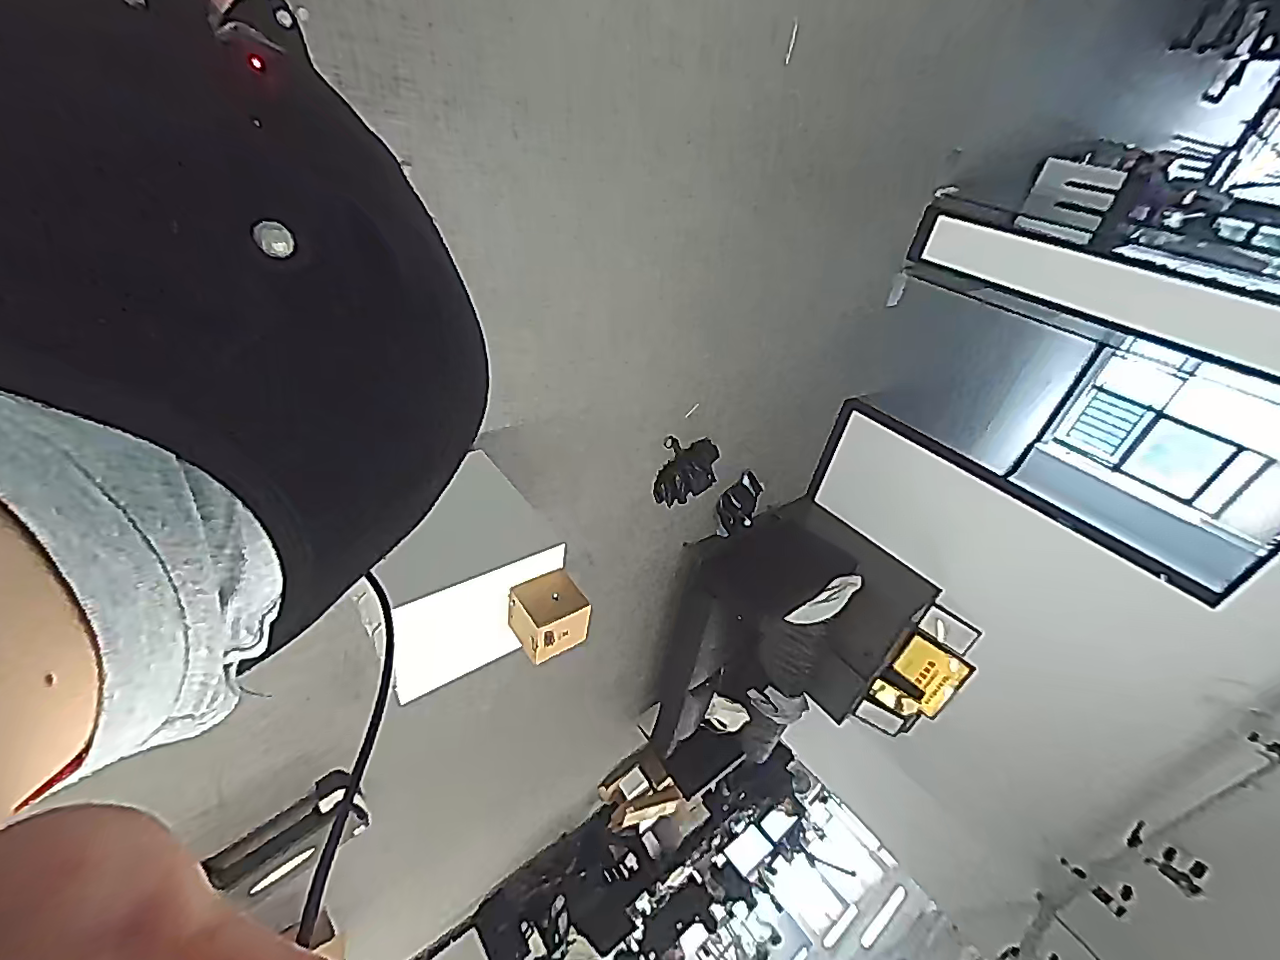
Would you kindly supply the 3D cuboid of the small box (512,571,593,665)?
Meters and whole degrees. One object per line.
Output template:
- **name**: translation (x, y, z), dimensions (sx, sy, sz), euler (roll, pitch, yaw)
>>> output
- **small box**: translation (-0.262, 0.401, 1.589), dimensions (0.179, 0.176, 0.168), euler (-19, 135, -36)
